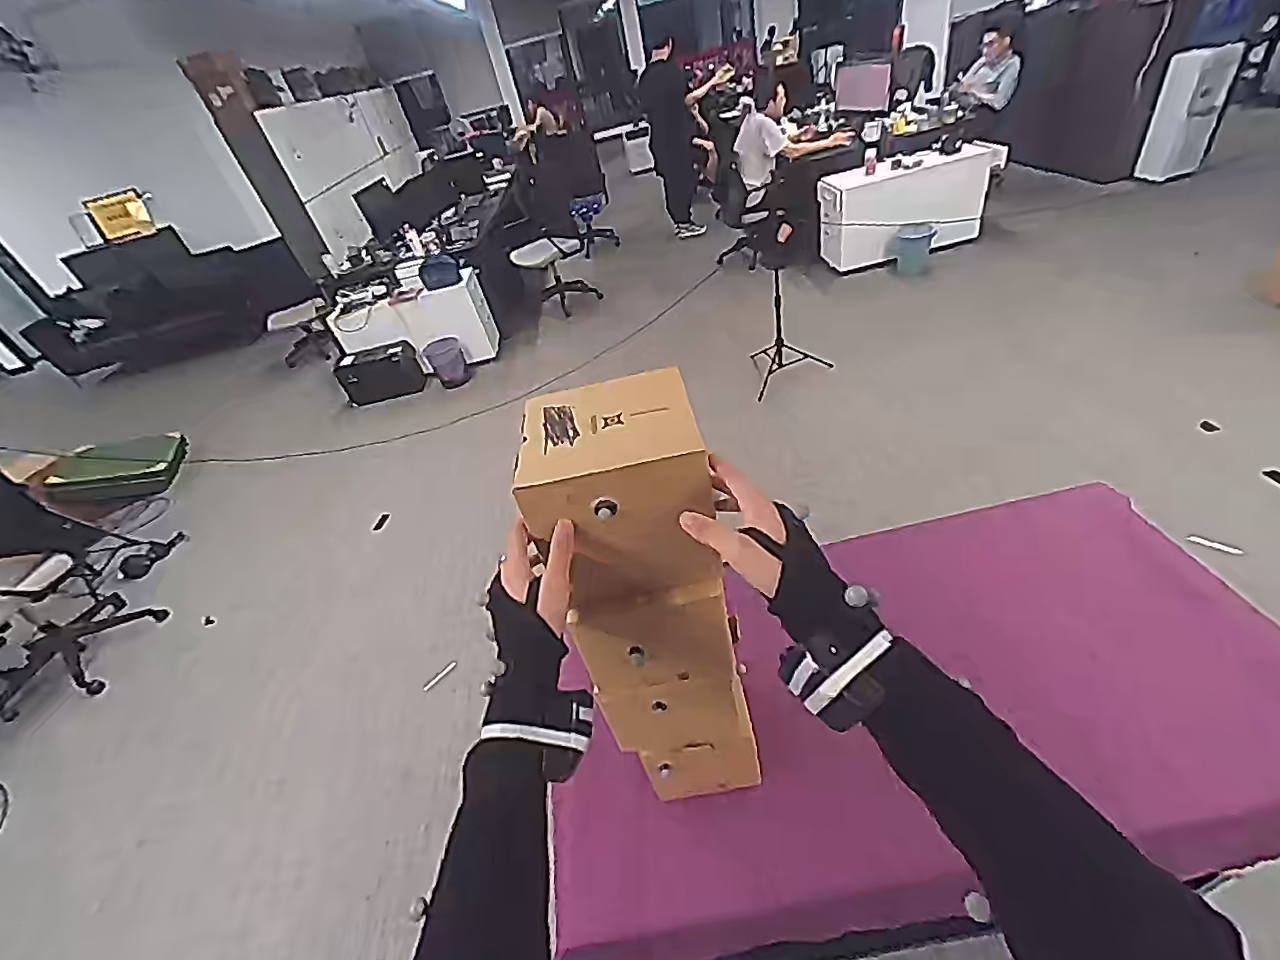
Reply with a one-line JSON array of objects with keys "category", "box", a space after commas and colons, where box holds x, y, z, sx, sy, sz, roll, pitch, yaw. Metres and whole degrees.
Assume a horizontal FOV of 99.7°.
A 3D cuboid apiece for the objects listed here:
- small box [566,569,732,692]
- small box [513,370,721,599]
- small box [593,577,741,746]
[{"category": "small box", "box": [0.013, 0.142, 0.673, 0.168, 0.176, 0.179, -12, 38, 4]}, {"category": "small box", "box": [-0.019, 0.007, 0.585, 0.179, 0.176, 0.168, -12, 38, 2]}, {"category": "small box", "box": [0.044, 0.263, 0.777, 0.179, 0.176, 0.168, -8, 39, 8]}]
